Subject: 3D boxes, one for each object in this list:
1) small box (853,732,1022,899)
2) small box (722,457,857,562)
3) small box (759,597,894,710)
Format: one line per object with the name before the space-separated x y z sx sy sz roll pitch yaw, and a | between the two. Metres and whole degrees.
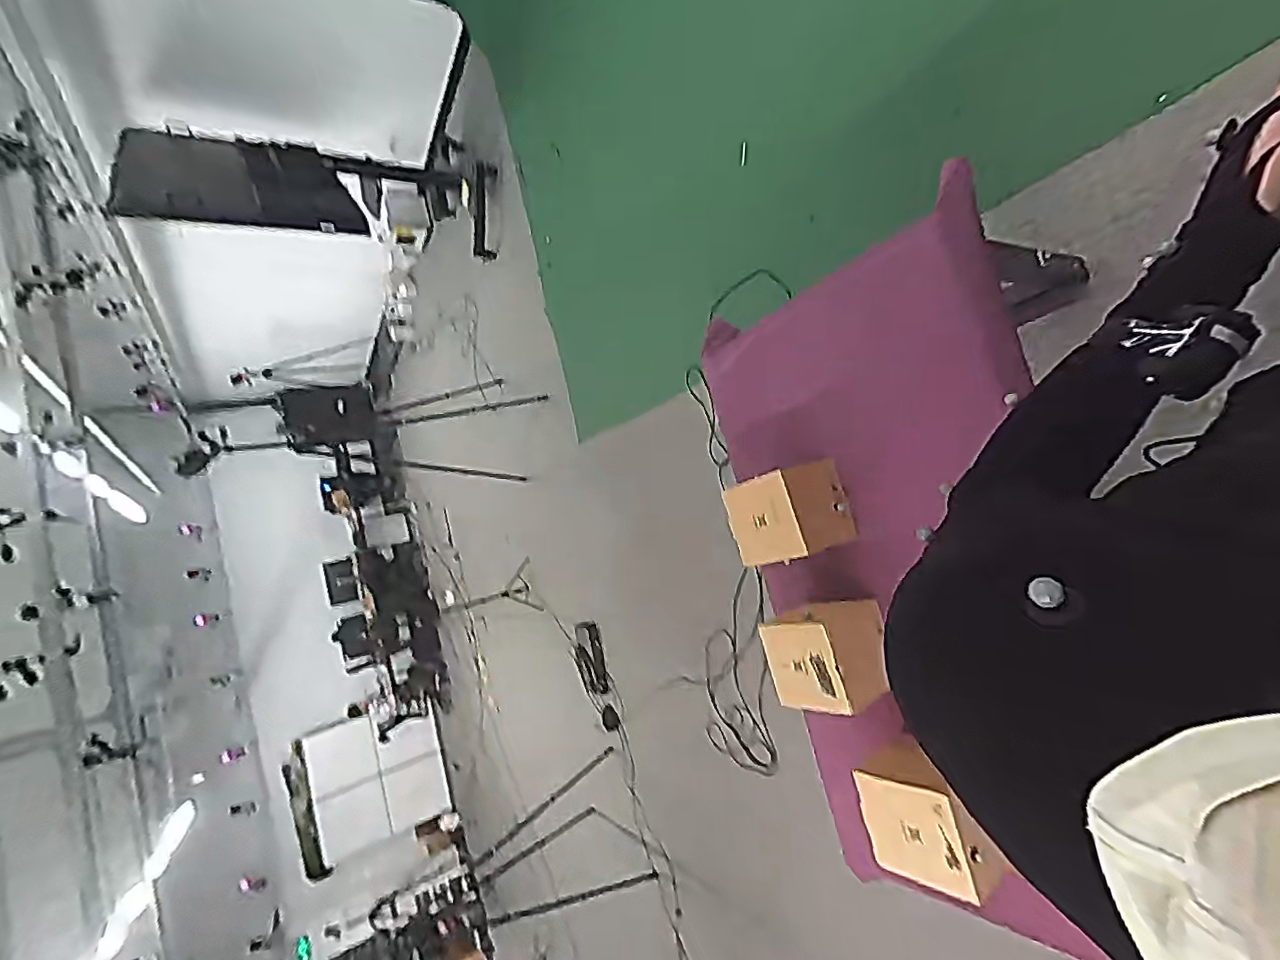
small box | 0.511 0.558 0.932 0.179 0.176 0.168 -23 82 55
small box | 0.302 0.061 1.101 0.179 0.176 0.168 -26 79 54
small box | 0.374 0.335 1.071 0.179 0.176 0.168 -25 78 55
